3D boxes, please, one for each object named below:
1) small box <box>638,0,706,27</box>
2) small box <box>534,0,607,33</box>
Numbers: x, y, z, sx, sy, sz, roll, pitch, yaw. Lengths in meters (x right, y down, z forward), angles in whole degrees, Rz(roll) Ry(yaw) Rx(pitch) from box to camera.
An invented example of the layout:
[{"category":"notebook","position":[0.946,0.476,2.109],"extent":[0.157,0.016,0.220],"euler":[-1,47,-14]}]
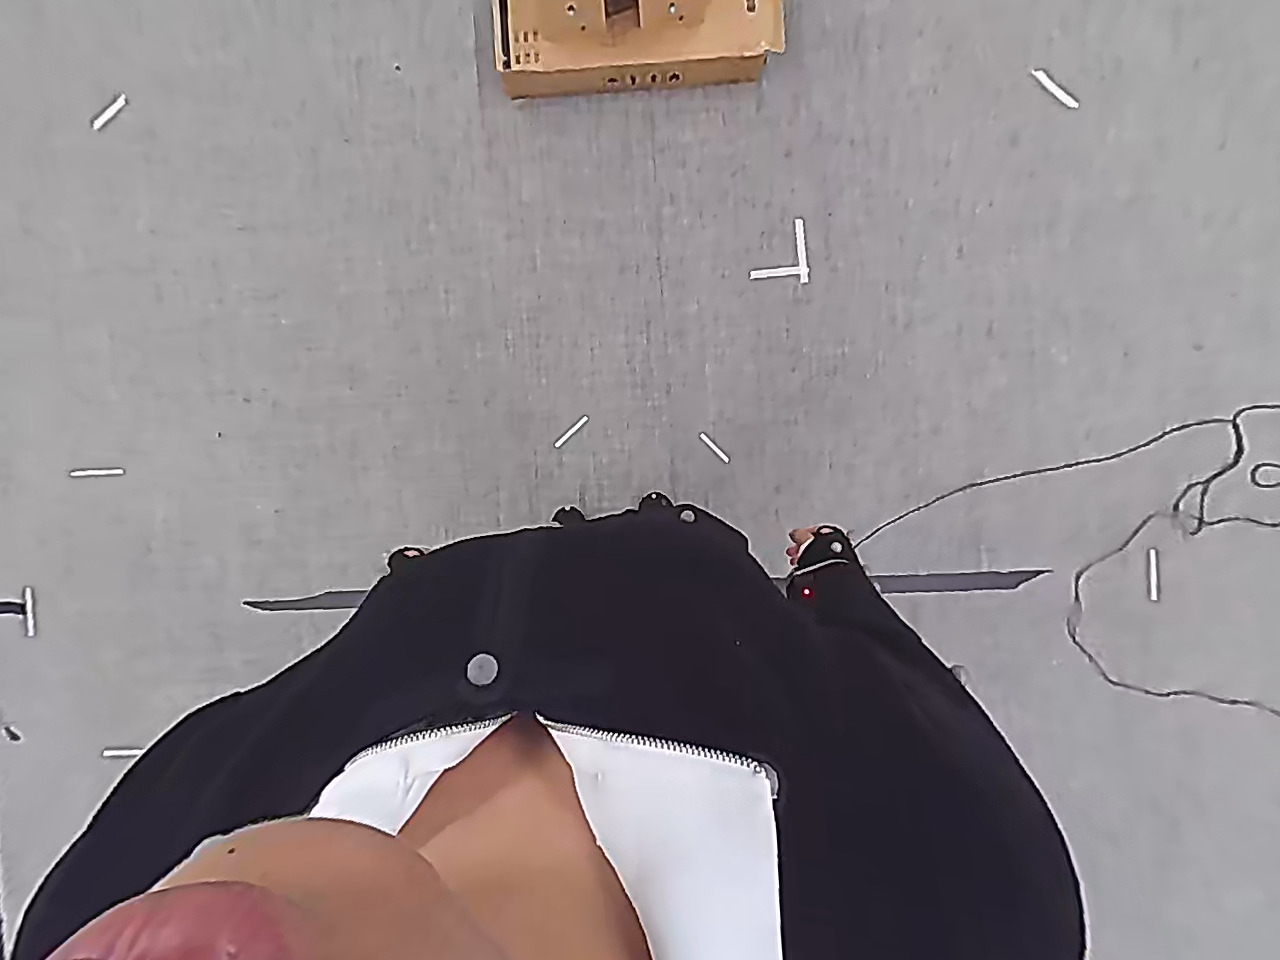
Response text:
[{"category":"small box","position":[0.073,-1.238,1.289],"extent":[0.168,0.176,0.179],"euler":[-4,90,2]},{"category":"small box","position":[-0.174,-1.216,1.294],"extent":[0.168,0.176,0.179],"euler":[-6,91,1]}]
